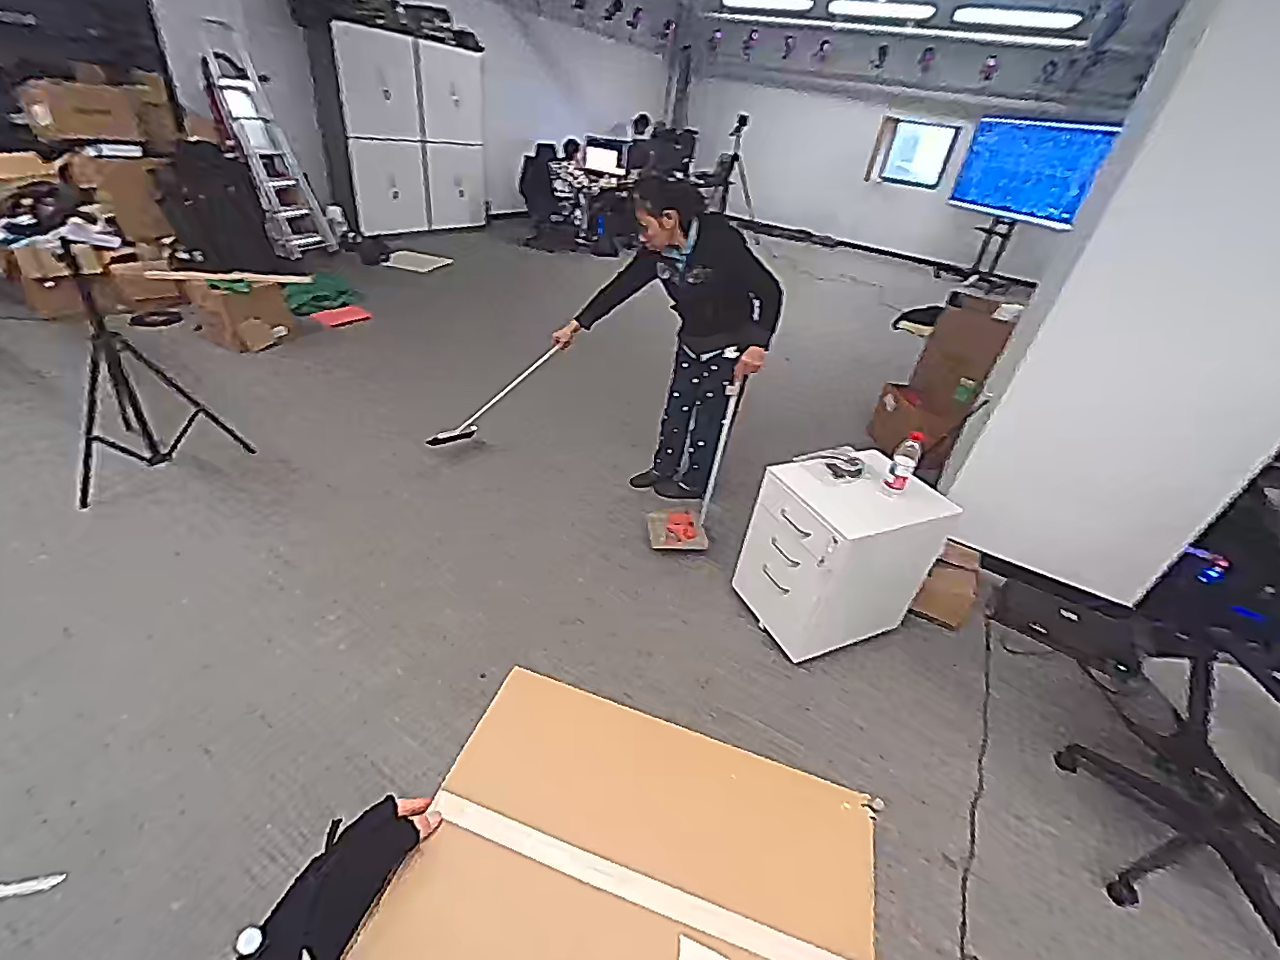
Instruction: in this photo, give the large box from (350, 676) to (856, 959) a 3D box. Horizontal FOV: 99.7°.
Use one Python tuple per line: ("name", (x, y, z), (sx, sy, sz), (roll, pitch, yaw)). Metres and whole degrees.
("large box", (-0.025, 0.481, 0.575), (0.408, 0.320, 0.320), (16, 38, 10))
